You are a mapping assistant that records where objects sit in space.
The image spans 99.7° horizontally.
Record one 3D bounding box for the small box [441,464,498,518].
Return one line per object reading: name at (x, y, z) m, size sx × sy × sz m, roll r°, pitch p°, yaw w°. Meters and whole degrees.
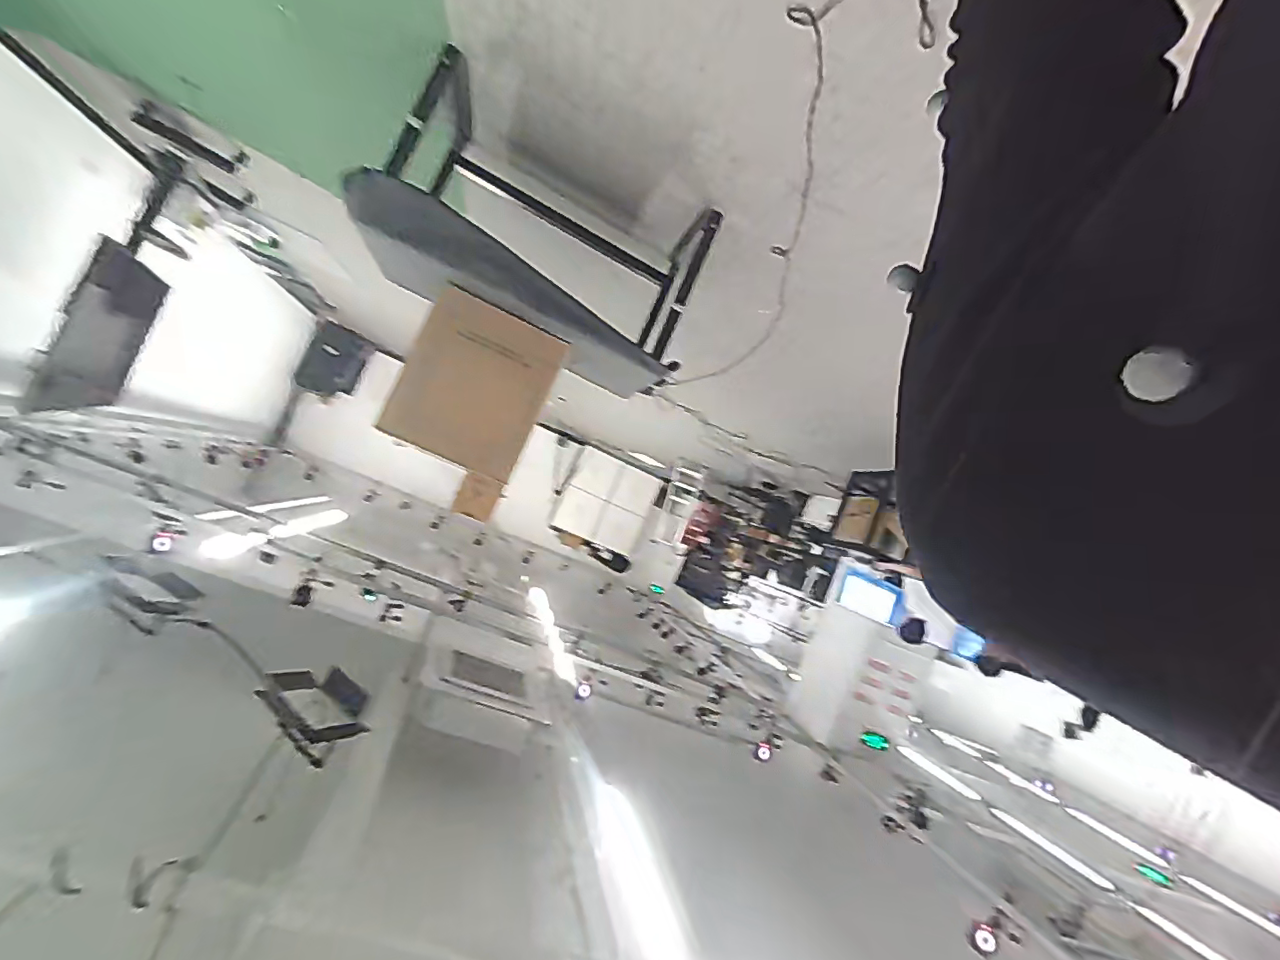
small box at (-0.680, 0.042, 2.165) m, size 0.168 × 0.176 × 0.179 m, roll 25°, pitch 172°, yaw -13°
